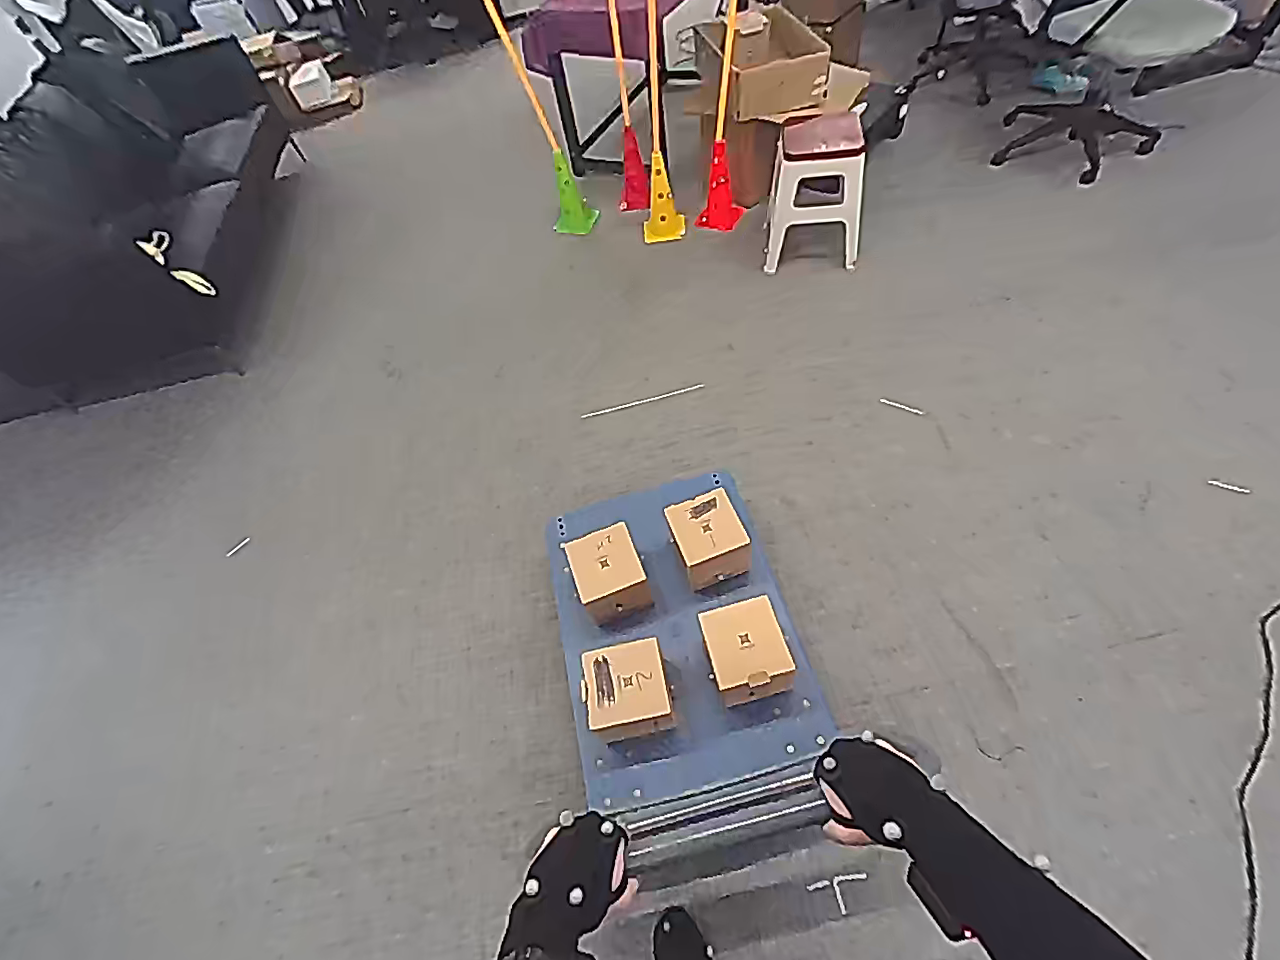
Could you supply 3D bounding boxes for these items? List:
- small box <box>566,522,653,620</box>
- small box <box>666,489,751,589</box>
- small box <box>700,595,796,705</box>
[{"bbox_3d":[-0.075,0.243,1.394,0.168,0.176,0.179,-20,56,-5],"label":"small box"},{"bbox_3d":[0.177,0.157,1.407,0.168,0.176,0.179,-20,57,-3],"label":"small box"},{"bbox_3d":[0.241,0.393,1.241,0.168,0.176,0.179,-16,56,-1],"label":"small box"}]
